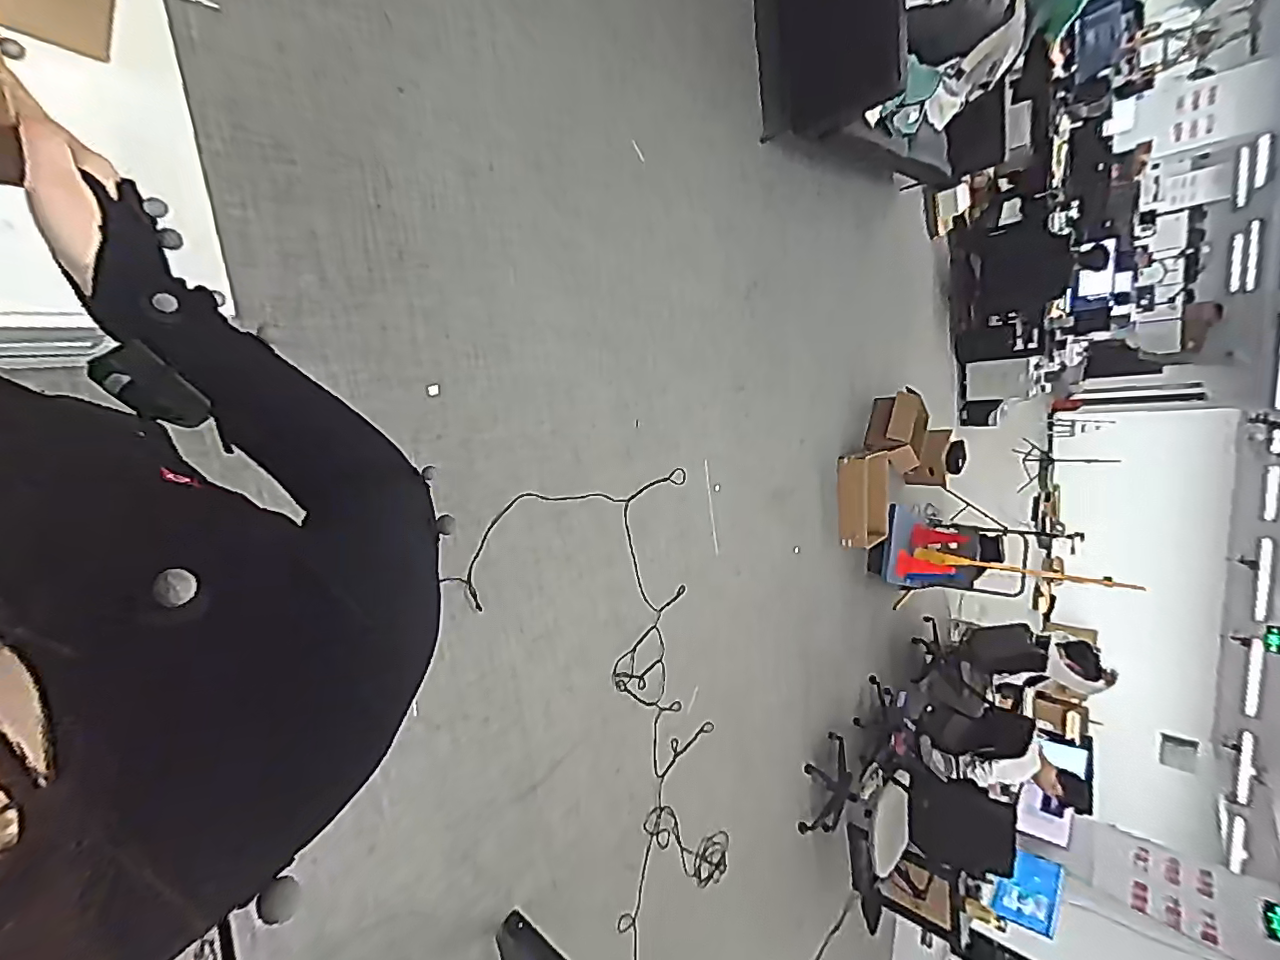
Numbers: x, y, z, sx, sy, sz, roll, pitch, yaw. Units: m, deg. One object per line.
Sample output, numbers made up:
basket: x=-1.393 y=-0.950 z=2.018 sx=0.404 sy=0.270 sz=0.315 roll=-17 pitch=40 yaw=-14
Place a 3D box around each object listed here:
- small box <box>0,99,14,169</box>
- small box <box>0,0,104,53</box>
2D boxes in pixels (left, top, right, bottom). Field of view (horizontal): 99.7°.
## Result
small box: x=-0.453 y=-0.272 z=0.257 sx=0.179 sy=0.176 sz=0.168 roll=-15 pitch=101 yaw=-45
small box: x=-0.660 y=-0.579 z=0.536 sx=0.179 sy=0.176 sz=0.168 roll=-6 pitch=97 yaw=-46
